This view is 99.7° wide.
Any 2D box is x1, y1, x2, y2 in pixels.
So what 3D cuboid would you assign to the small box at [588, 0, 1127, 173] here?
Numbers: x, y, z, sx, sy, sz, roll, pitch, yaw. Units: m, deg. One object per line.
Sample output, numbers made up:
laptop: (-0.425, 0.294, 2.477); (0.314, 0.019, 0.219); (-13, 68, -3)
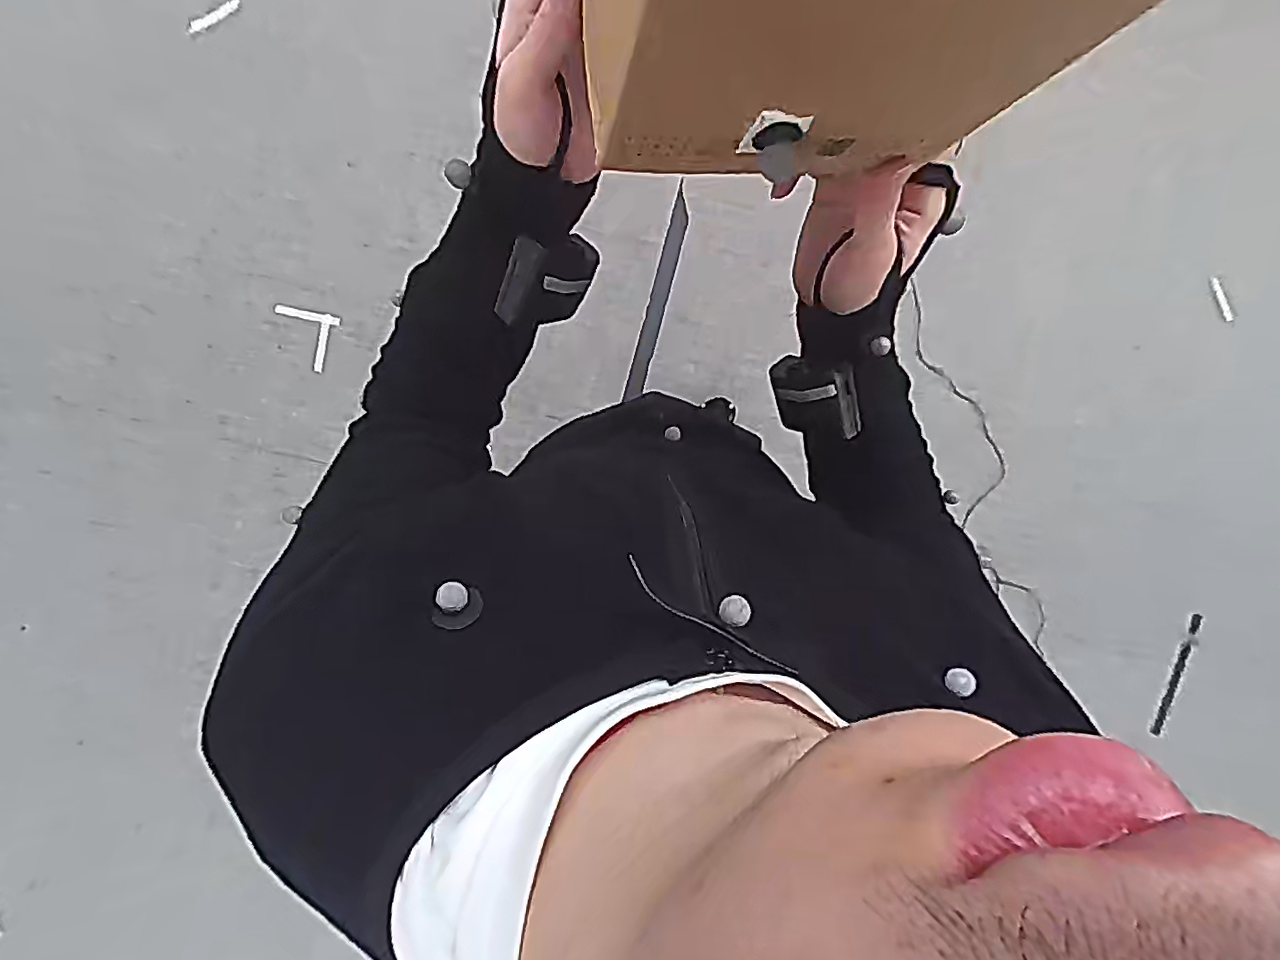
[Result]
small box: (0.068, -0.235, 0.183); (0.168, 0.176, 0.179); (-7, 95, -10)
